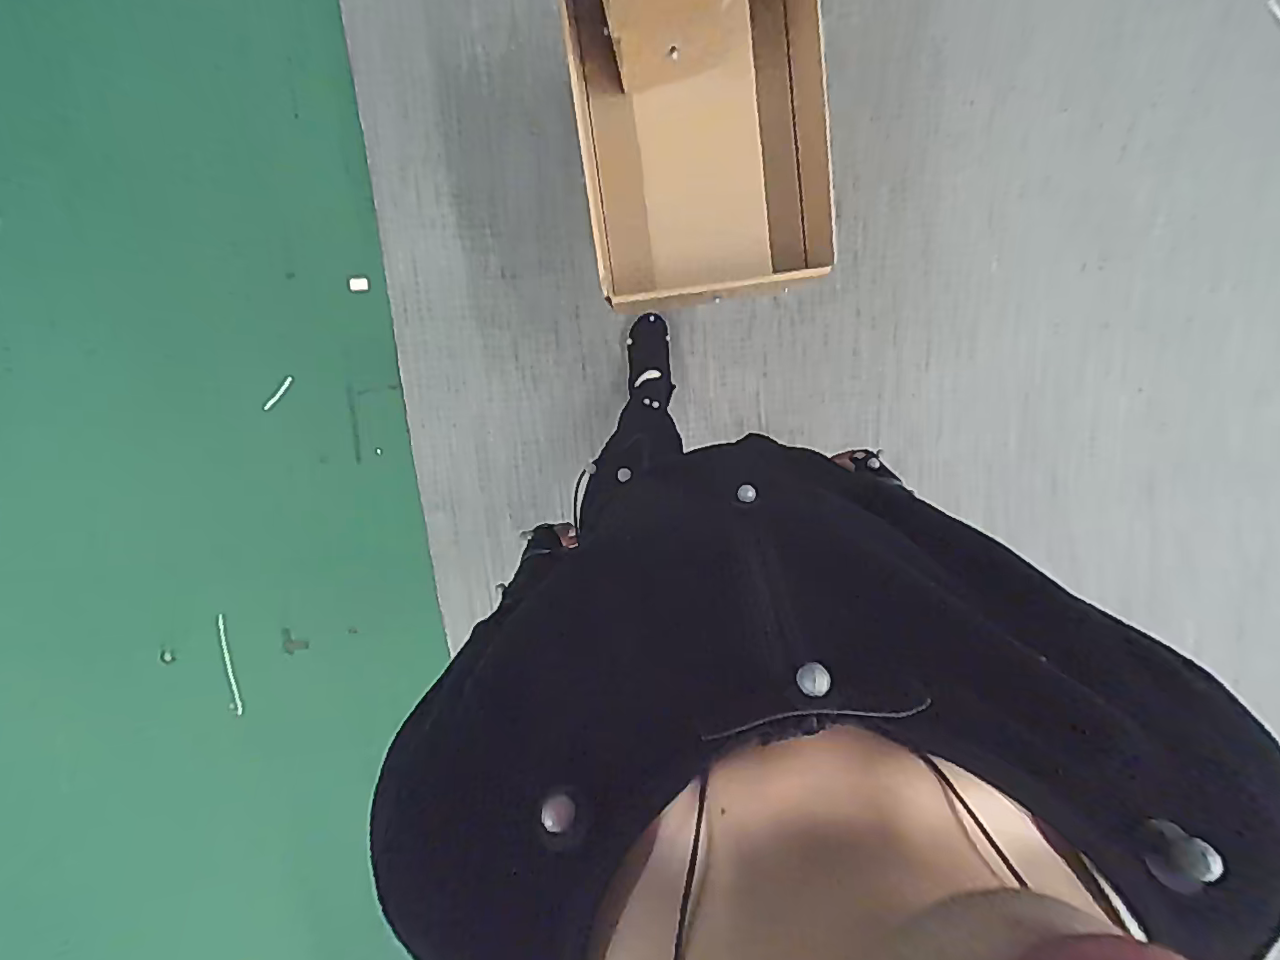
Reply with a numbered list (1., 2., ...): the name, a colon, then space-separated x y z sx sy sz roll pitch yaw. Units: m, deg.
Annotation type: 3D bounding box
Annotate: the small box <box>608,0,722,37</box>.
1. small box: 0.030 -0.750 0.724 0.179 0.176 0.168 -12 99 4
